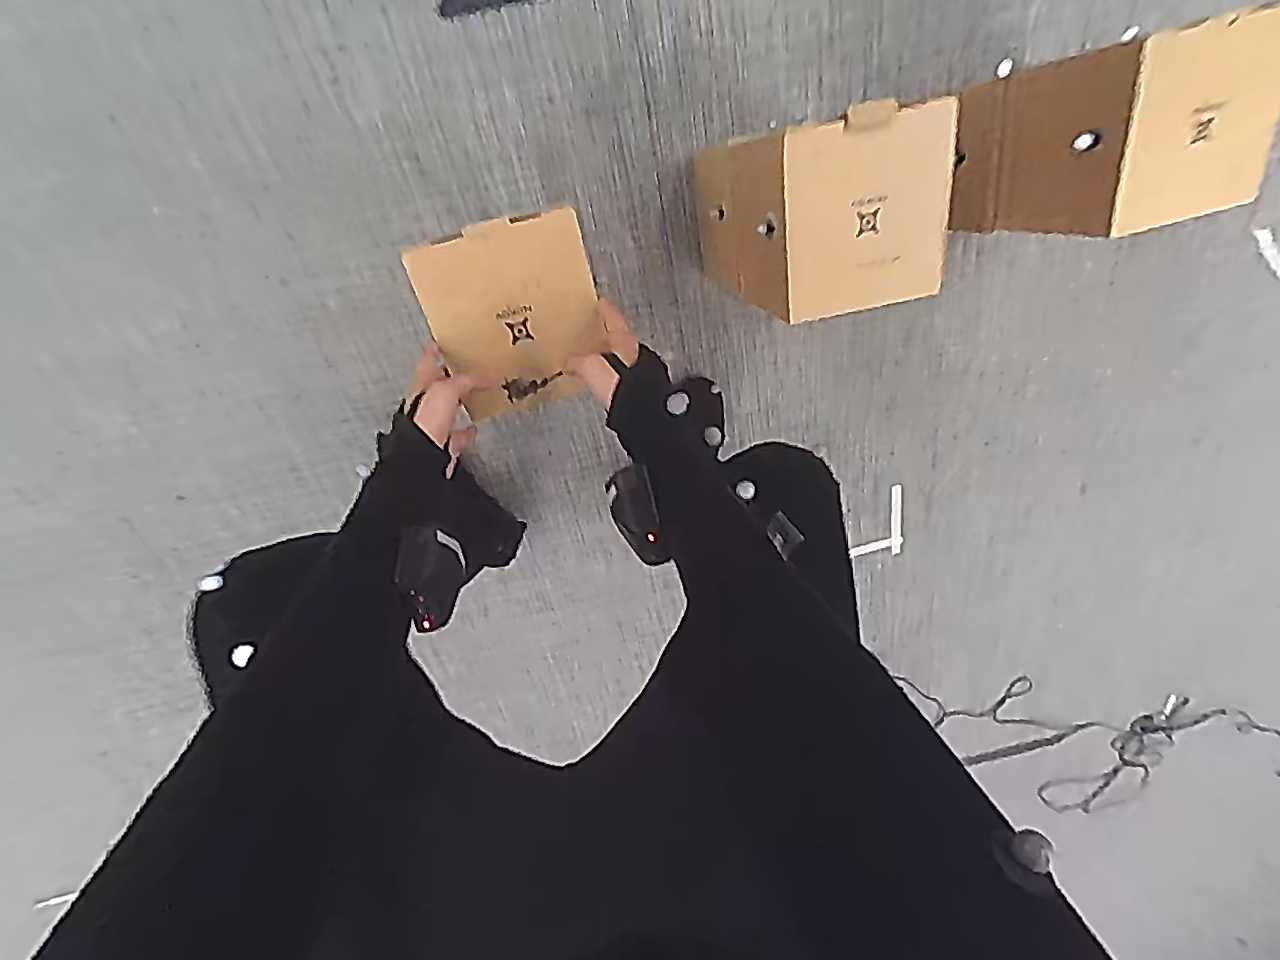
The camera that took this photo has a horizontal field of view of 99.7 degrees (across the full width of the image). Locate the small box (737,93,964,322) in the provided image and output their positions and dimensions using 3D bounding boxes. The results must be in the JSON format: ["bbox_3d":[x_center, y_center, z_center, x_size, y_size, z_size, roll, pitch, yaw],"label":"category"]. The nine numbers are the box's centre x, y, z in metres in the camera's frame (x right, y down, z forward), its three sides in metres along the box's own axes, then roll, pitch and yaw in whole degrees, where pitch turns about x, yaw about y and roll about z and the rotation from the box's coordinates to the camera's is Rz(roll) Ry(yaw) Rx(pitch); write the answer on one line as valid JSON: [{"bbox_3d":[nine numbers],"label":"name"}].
[{"bbox_3d":[0.210,-0.285,0.583,0.168,0.176,0.179,-12,118,-3],"label":"small box"}]

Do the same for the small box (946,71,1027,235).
[{"bbox_3d":[0.512,-0.450,0.739,0.168,0.176,0.179,-16,117,-2],"label":"small box"}]

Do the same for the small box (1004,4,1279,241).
[{"bbox_3d":[0.540,-0.379,0.596,0.168,0.176,0.179,-15,117,-2],"label":"small box"}]

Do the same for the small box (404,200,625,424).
[{"bbox_3d":[-0.121,-0.184,0.577,0.168,0.176,0.179,-14,118,0],"label":"small box"}]

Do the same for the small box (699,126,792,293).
[{"bbox_3d":[0.183,-0.364,0.725,0.168,0.176,0.179,-12,118,-3],"label":"small box"}]
